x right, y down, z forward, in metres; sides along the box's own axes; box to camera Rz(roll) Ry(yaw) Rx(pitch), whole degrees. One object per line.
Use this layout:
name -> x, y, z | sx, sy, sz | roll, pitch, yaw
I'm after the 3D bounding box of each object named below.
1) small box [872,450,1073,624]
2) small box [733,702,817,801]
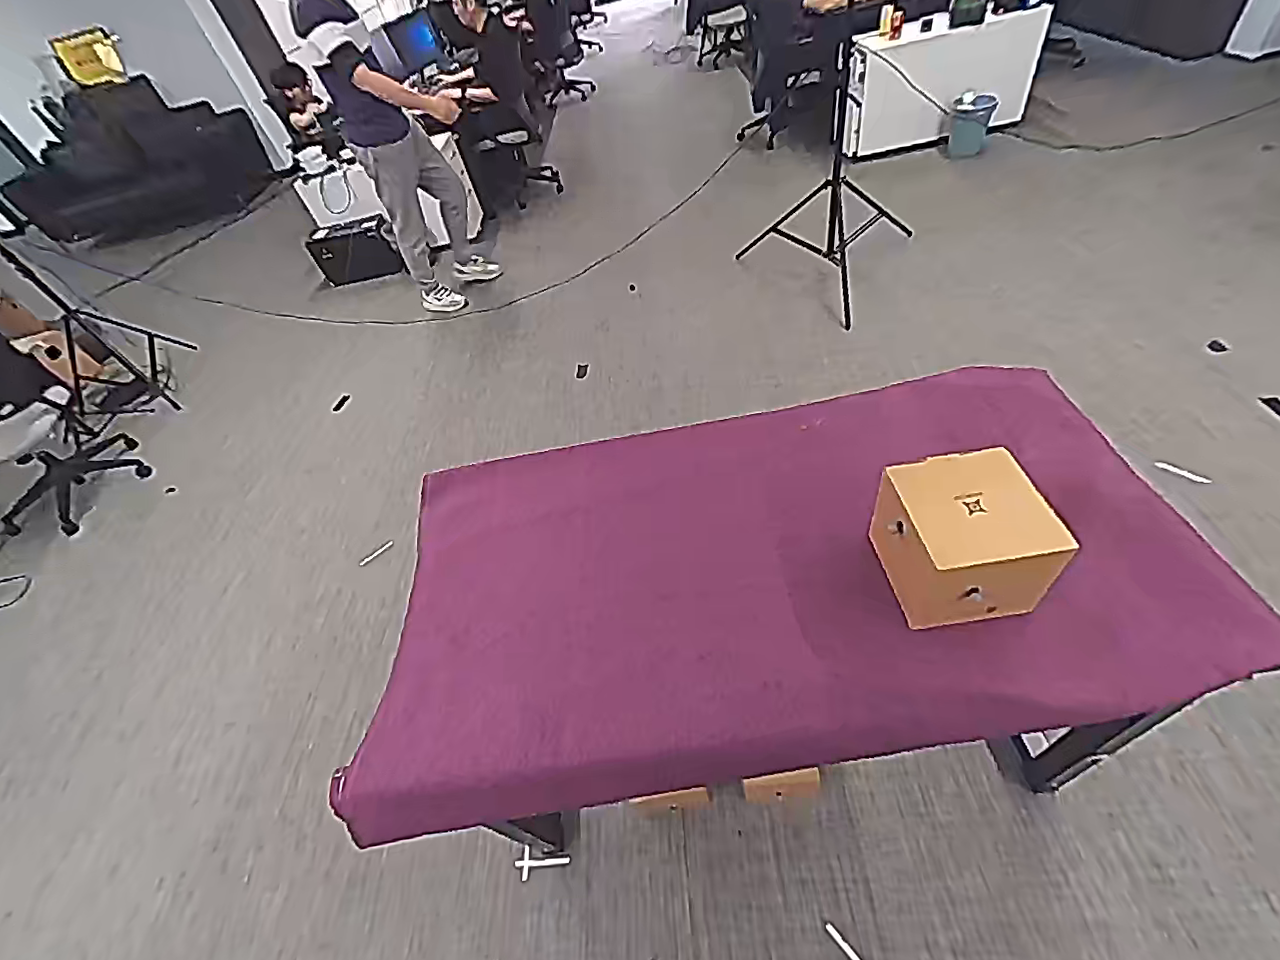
small box -> 0.446, 0.088, 0.762 | 0.168, 0.176, 0.179 | -10, 47, 5
small box -> 0.317, 0.650, 1.286 | 0.168, 0.176, 0.179 | -8, 47, 7
